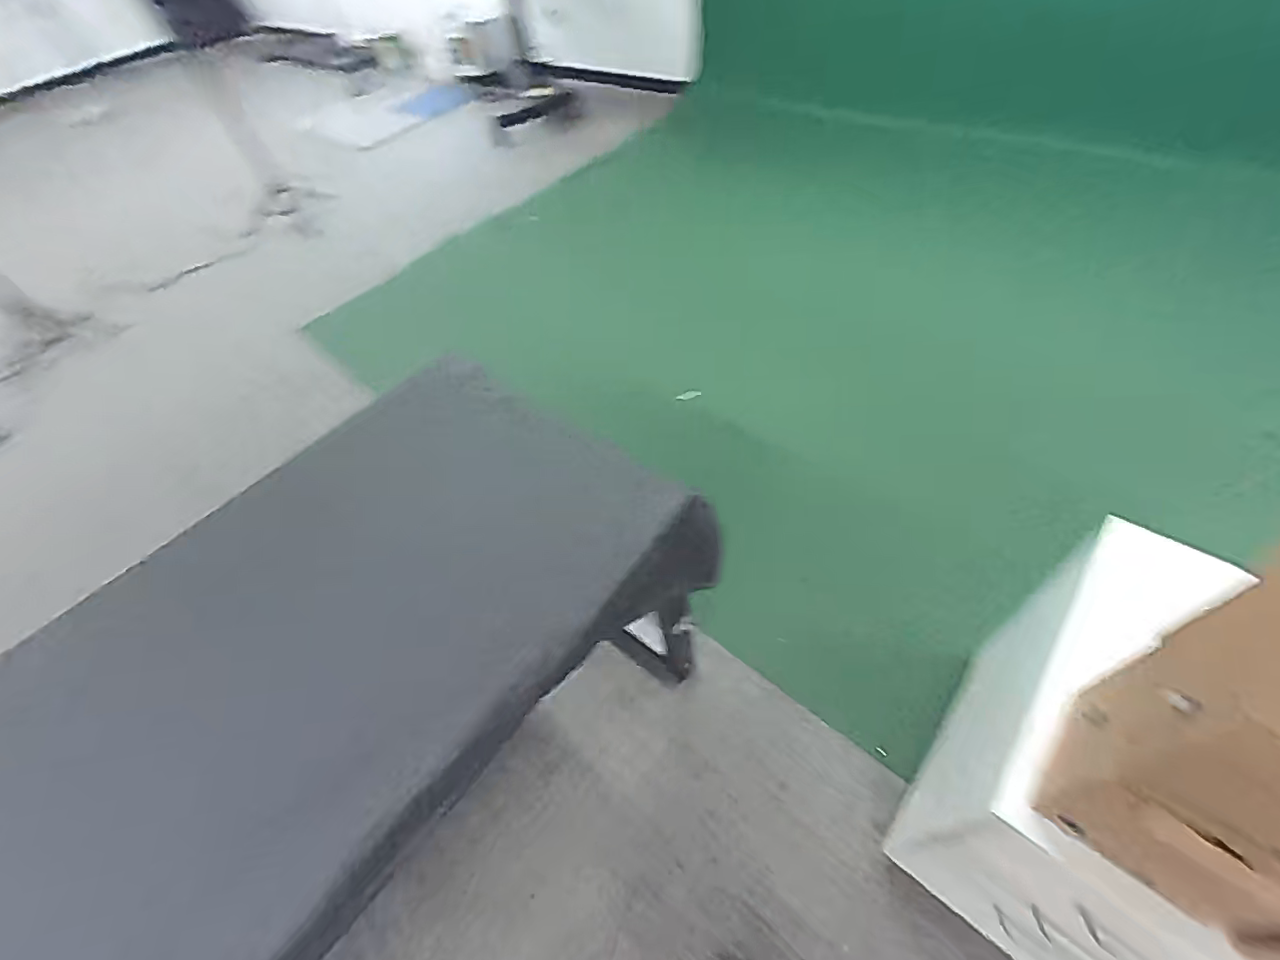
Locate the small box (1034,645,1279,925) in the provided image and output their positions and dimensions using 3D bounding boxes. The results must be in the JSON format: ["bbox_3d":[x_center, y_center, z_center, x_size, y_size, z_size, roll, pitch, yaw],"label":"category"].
[{"bbox_3d":[0.549,0.313,0.554,0.168,0.176,0.179,33,61,27],"label":"small box"}]
